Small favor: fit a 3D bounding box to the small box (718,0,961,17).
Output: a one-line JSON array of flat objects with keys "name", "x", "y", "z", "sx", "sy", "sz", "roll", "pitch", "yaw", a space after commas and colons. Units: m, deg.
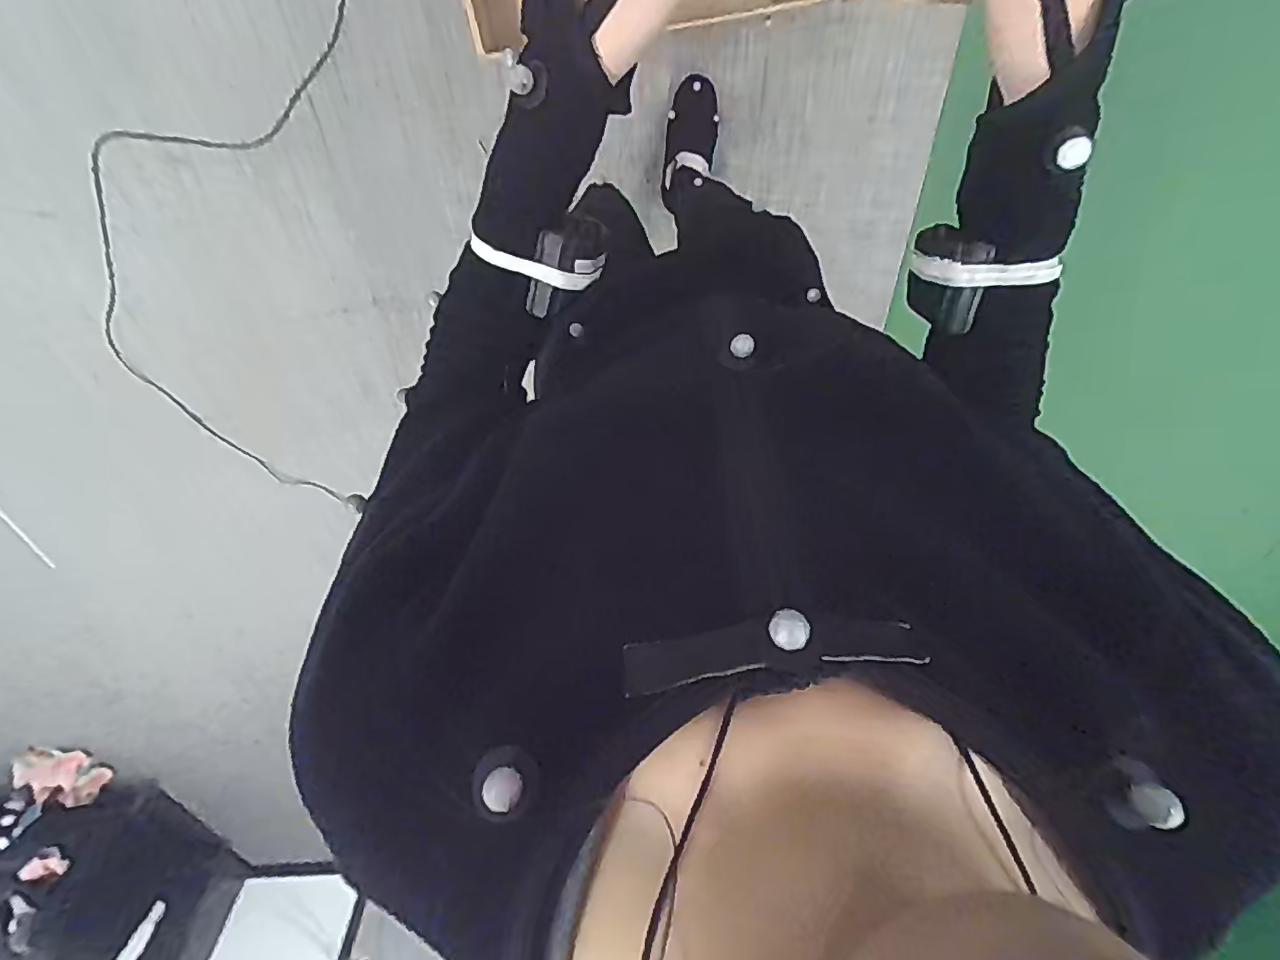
[{"name": "small box", "x": 0.099, "y": -0.383, "z": 0.291, "sx": 0.179, "sy": 0.176, "sz": 0.168, "roll": -1, "pitch": 143, "yaw": -6}]
